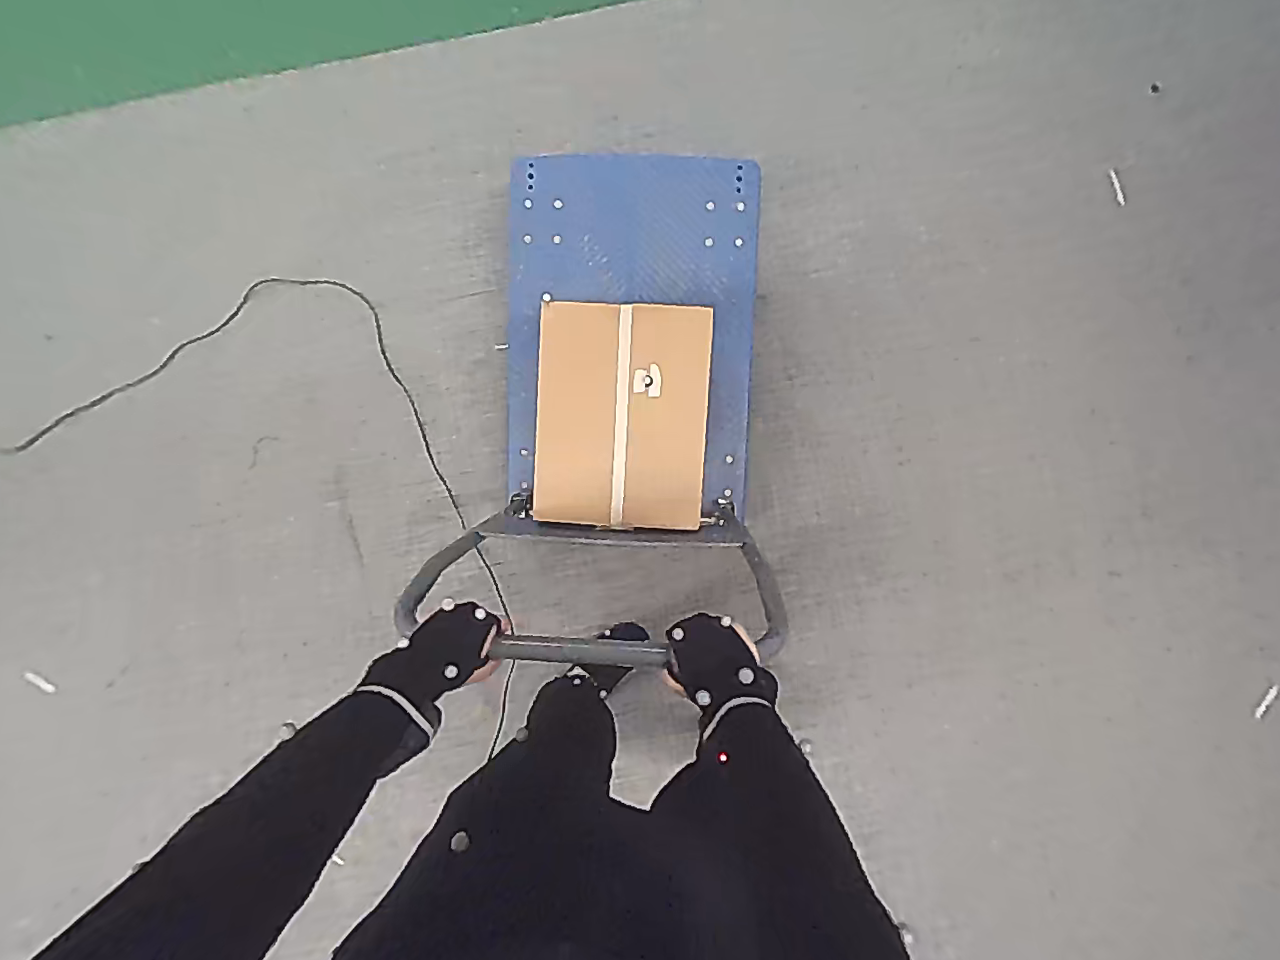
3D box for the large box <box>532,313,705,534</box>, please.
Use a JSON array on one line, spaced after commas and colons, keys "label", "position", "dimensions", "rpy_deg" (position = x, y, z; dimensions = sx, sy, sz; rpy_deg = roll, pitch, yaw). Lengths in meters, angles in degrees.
[{"label": "large box", "position": [-0.033, -0.110, 1.141], "dimensions": [0.320, 0.320, 0.408], "rpy_deg": [3, 94, 2]}]
